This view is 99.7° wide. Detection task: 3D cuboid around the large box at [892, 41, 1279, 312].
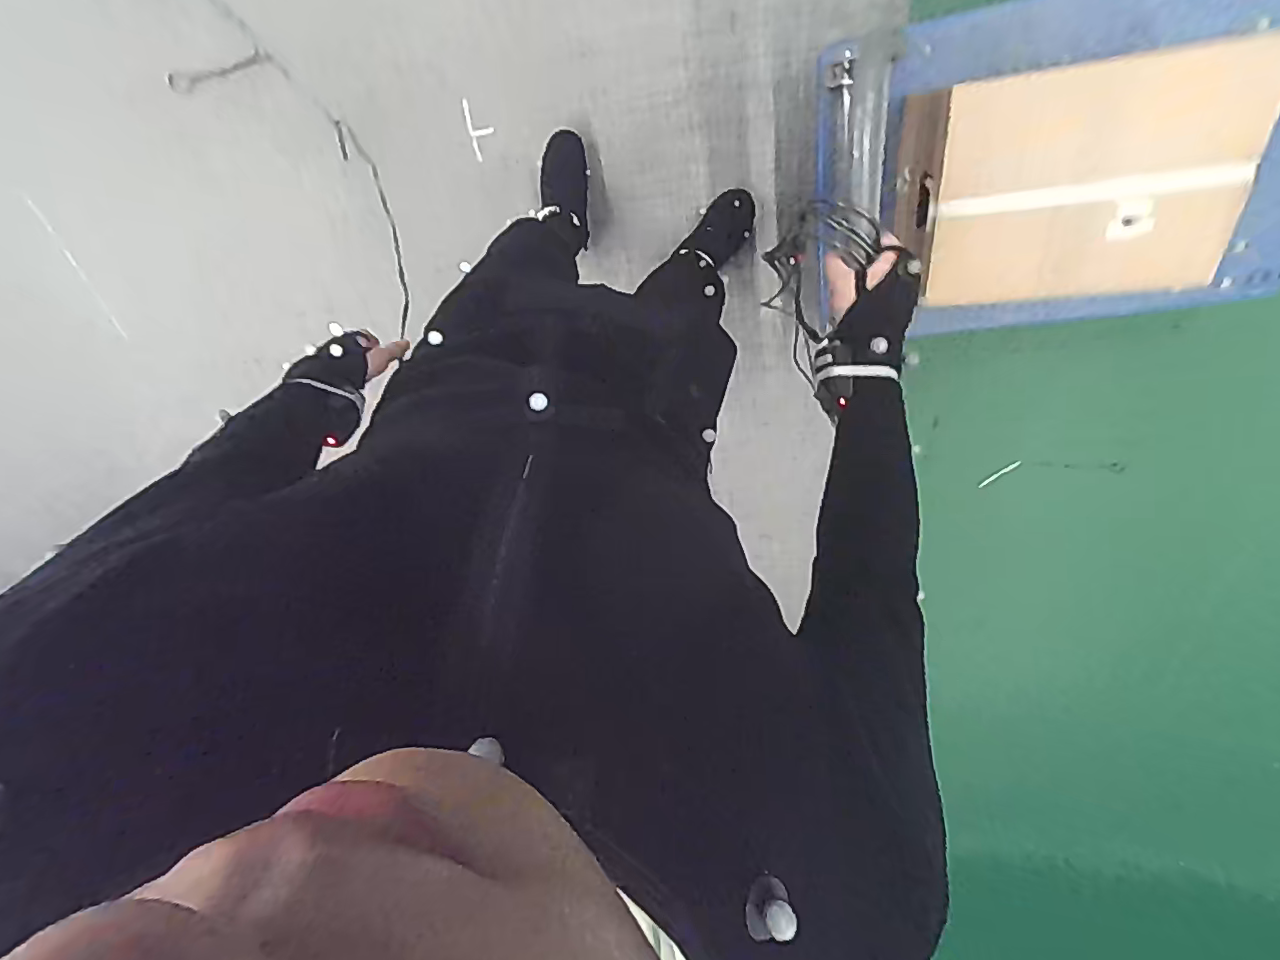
[{"bbox_3d":[0.683,-0.495,0.916,0.408,0.320,0.320,0,123,12],"label":"large box"}]
